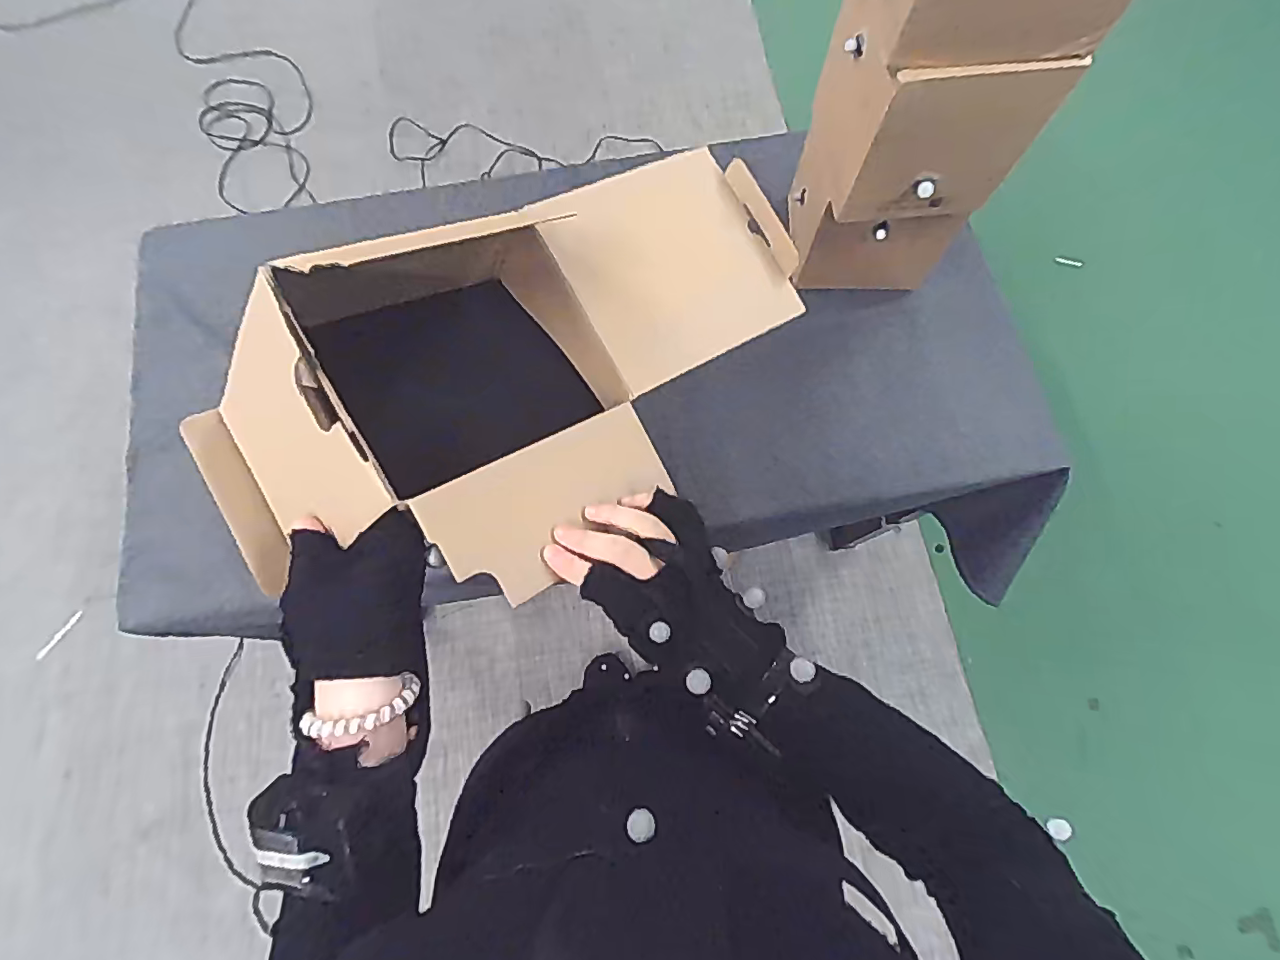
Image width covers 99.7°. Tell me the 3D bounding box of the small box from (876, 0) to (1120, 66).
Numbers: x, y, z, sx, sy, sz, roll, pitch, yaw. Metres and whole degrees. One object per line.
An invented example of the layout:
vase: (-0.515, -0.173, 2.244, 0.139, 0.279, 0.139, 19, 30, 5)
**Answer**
small box: (0.284, -0.446, 0.399, 0.179, 0.176, 0.168, -2, 75, 1)

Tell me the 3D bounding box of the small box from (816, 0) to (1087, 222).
small box: (0.293, -0.400, 0.556, 0.168, 0.176, 0.179, -4, 75, 1)

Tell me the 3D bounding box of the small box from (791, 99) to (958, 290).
small box: (0.303, -0.372, 0.718, 0.179, 0.176, 0.168, 2, 74, 2)
